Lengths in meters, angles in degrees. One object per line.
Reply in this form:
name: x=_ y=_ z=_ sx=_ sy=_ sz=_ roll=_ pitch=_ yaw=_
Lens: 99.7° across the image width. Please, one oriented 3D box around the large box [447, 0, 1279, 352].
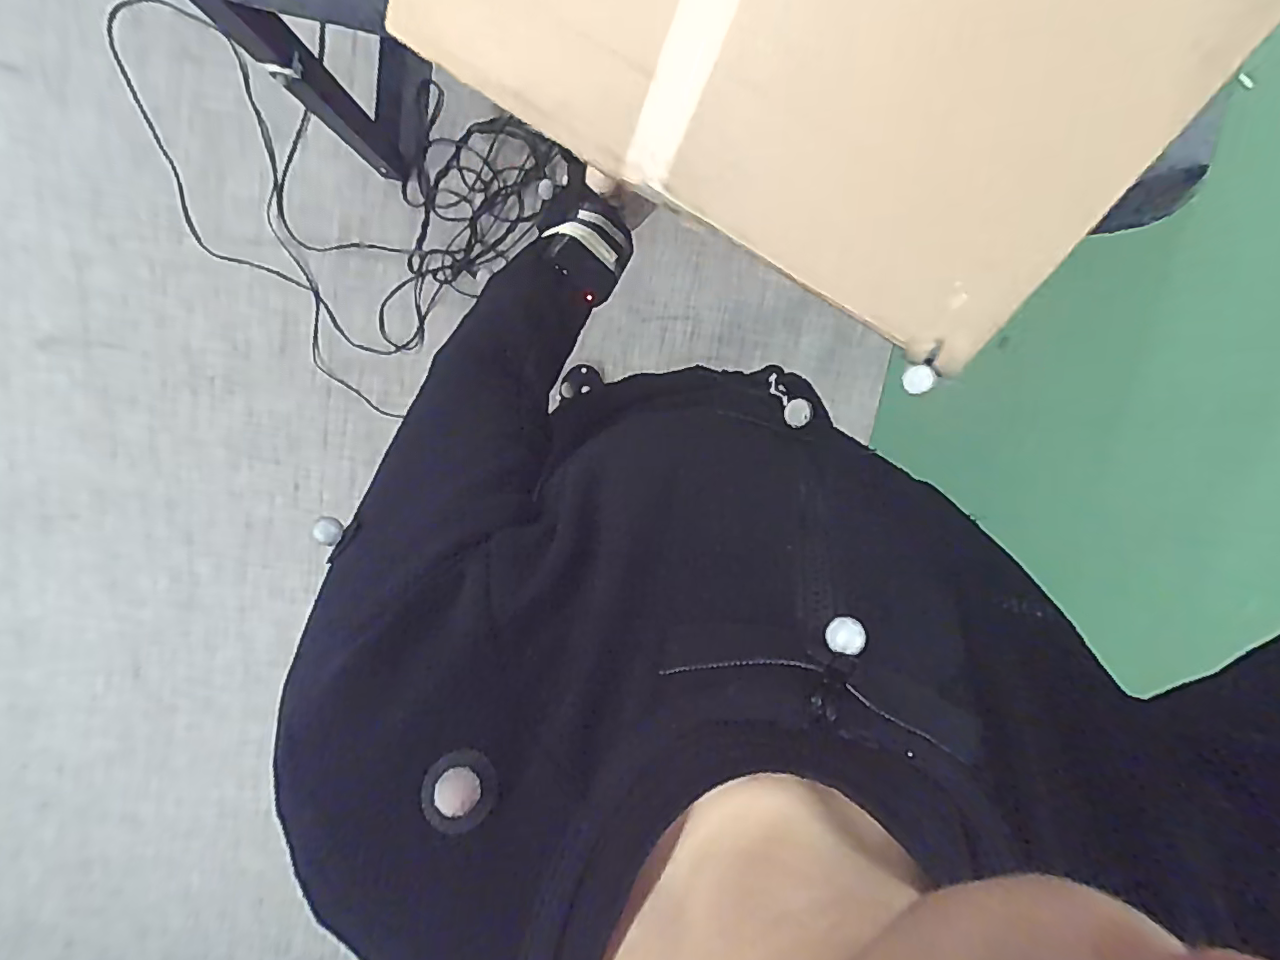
large box: x=0.158 y=-0.345 z=0.261 sx=0.320 sy=0.320 sz=0.408 roll=34 pitch=127 yaw=9
